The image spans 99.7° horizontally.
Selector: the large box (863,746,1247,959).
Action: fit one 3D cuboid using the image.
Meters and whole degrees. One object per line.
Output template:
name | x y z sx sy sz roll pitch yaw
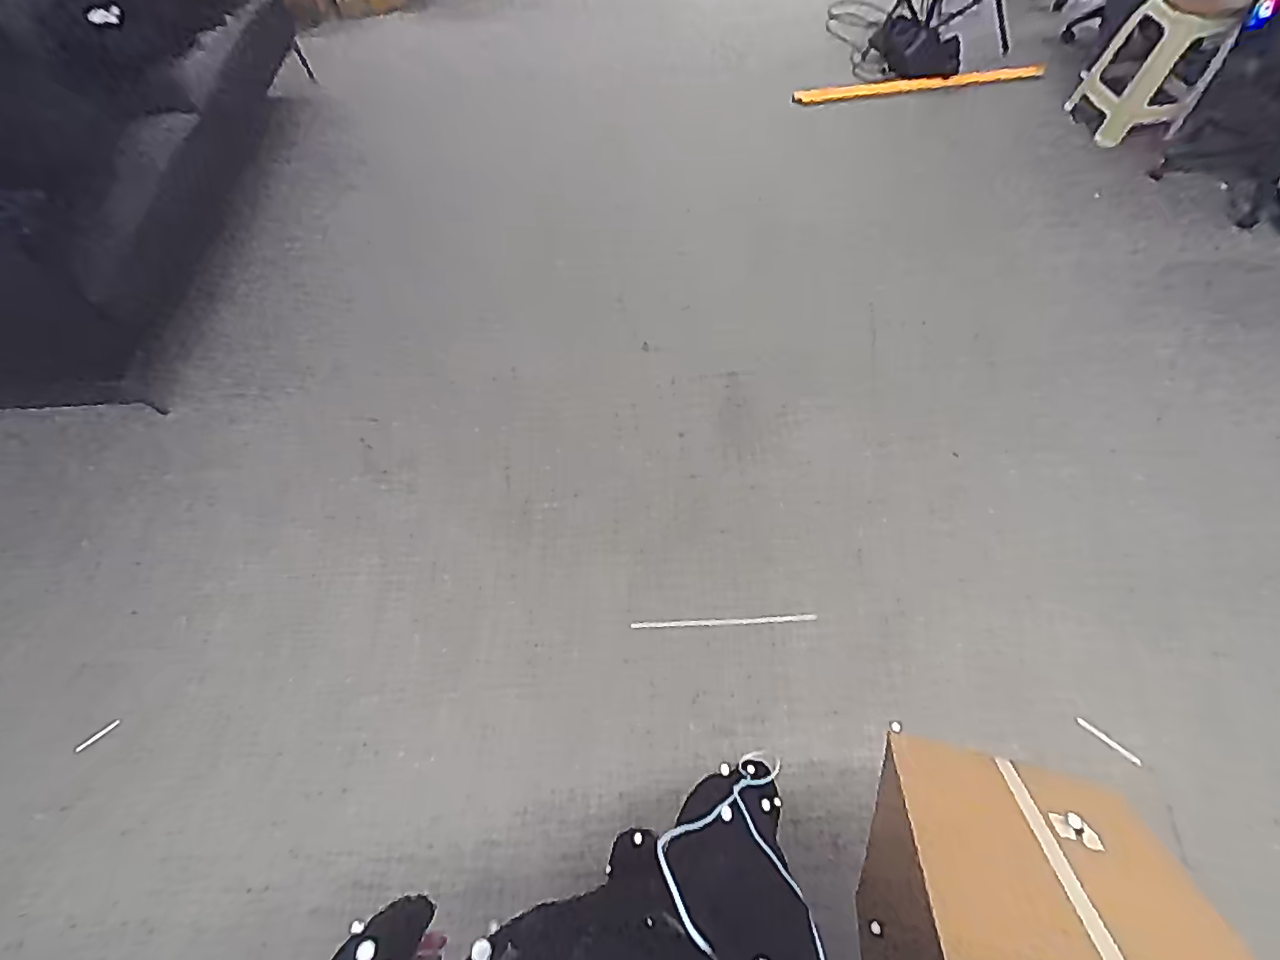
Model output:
large box | 0.469 0.610 0.650 0.320 0.408 0.320 10 98 16
